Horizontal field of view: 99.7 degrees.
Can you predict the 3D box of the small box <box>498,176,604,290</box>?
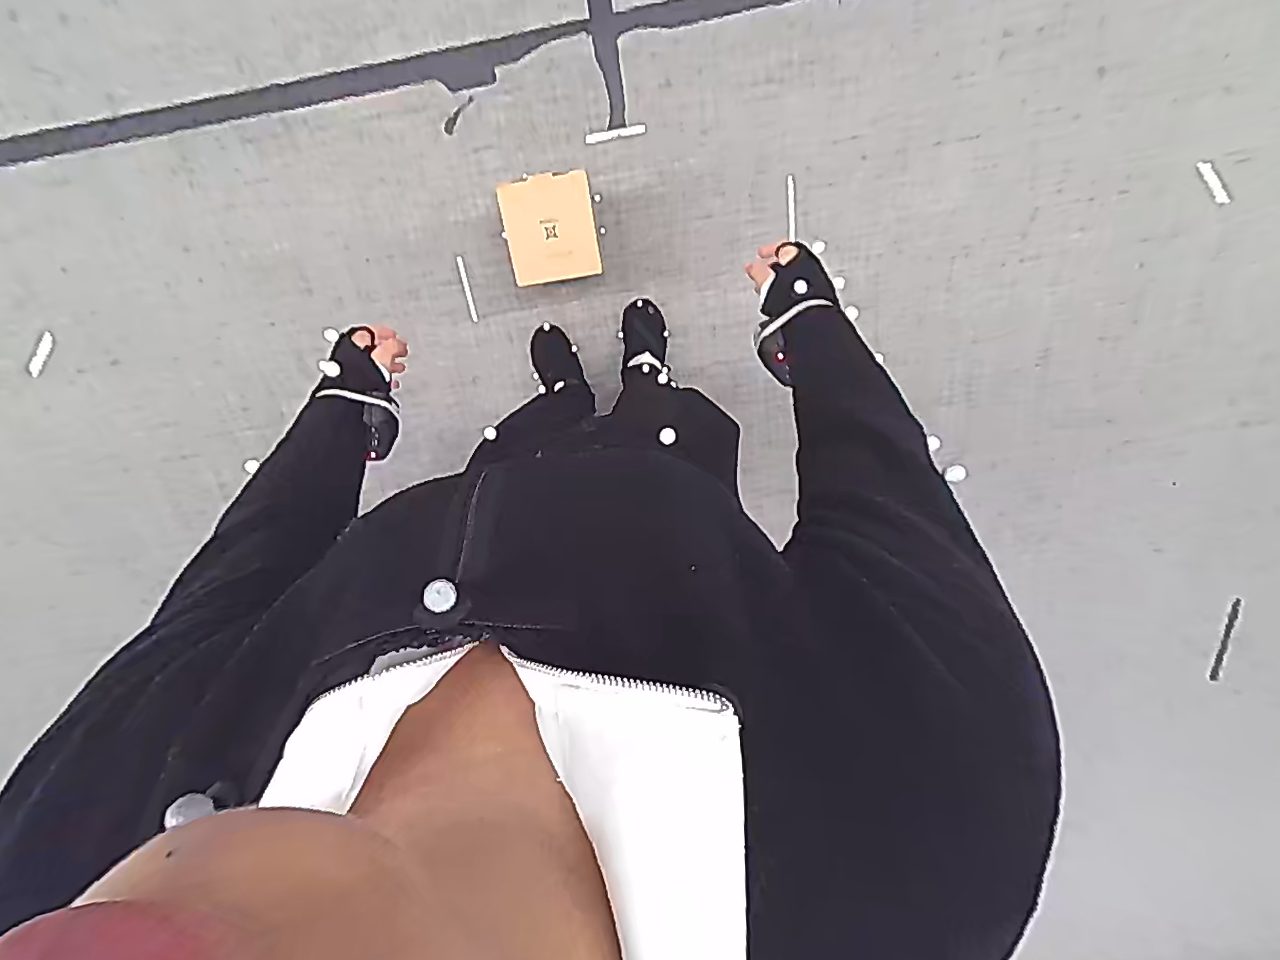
[{"bbox_3d":[-0.166,-0.483,1.069,0.168,0.176,0.179,-9,114,2],"label":"small box"}]
